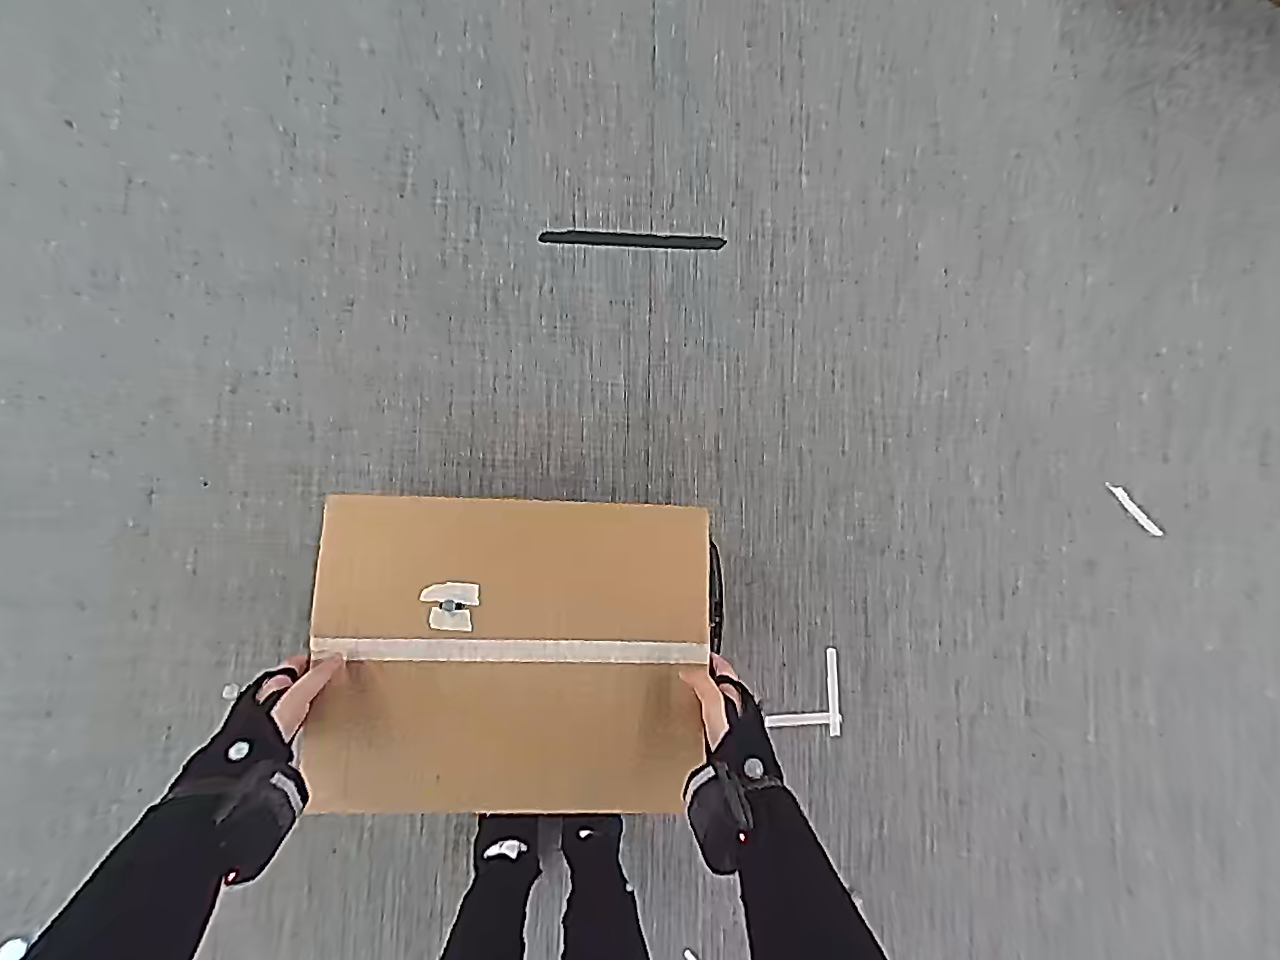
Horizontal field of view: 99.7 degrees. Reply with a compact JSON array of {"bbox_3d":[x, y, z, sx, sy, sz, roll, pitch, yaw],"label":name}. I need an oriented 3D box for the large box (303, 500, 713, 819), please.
[{"bbox_3d":[-0.131,0.197,0.695,0.408,0.320,0.320,2,81,-3],"label":"large box"}]
